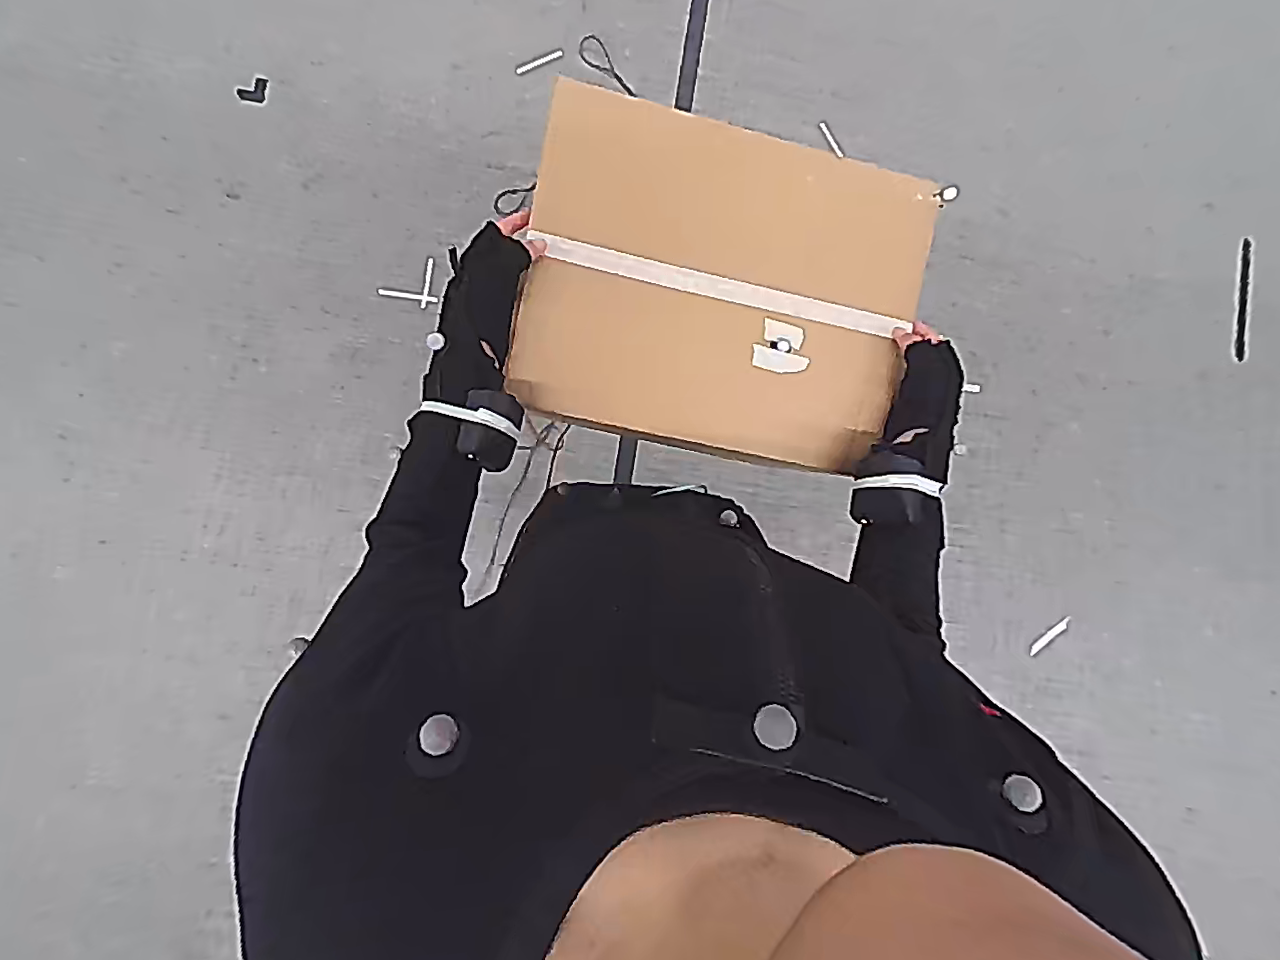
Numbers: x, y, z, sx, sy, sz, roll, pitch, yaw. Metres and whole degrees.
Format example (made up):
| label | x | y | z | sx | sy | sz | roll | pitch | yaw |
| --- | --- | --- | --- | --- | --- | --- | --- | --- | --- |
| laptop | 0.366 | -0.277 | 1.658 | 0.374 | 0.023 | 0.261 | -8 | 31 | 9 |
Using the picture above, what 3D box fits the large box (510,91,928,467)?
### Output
| label | x | y | z | sx | sy | sz | roll | pitch | yaw |
| --- | --- | --- | --- | --- | --- | --- | --- | --- | --- |
| large box | 0.070 | -0.210 | 0.709 | 0.408 | 0.320 | 0.320 | 12 | 94 | -8 |
